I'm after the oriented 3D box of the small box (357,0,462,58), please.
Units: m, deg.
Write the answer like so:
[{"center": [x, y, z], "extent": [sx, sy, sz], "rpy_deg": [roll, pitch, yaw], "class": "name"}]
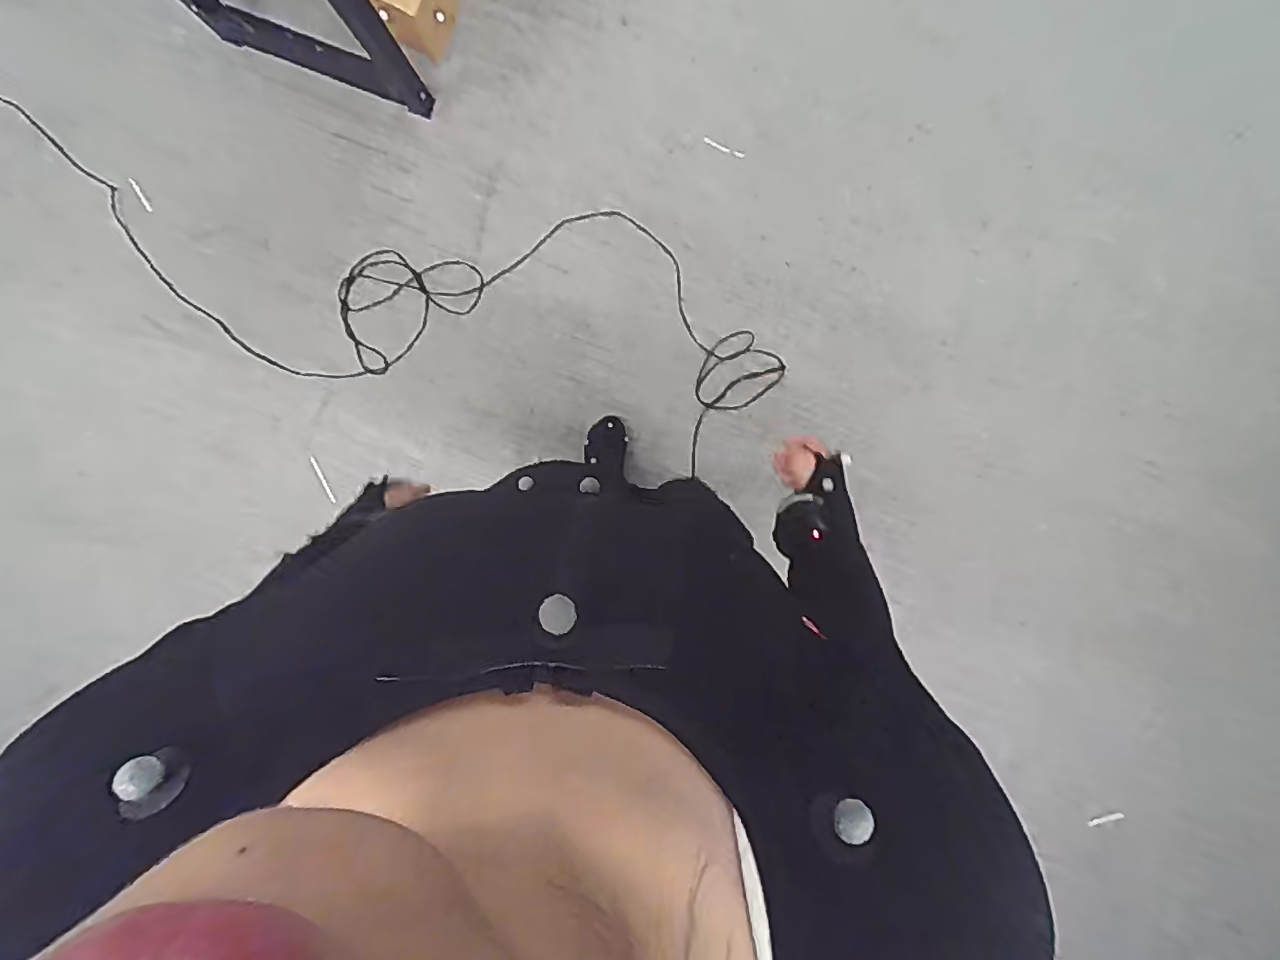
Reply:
[{"center": [-0.557, -1.173, 1.302], "extent": [0.179, 0.176, 0.168], "rpy_deg": [26, 95, -1], "class": "small box"}]
